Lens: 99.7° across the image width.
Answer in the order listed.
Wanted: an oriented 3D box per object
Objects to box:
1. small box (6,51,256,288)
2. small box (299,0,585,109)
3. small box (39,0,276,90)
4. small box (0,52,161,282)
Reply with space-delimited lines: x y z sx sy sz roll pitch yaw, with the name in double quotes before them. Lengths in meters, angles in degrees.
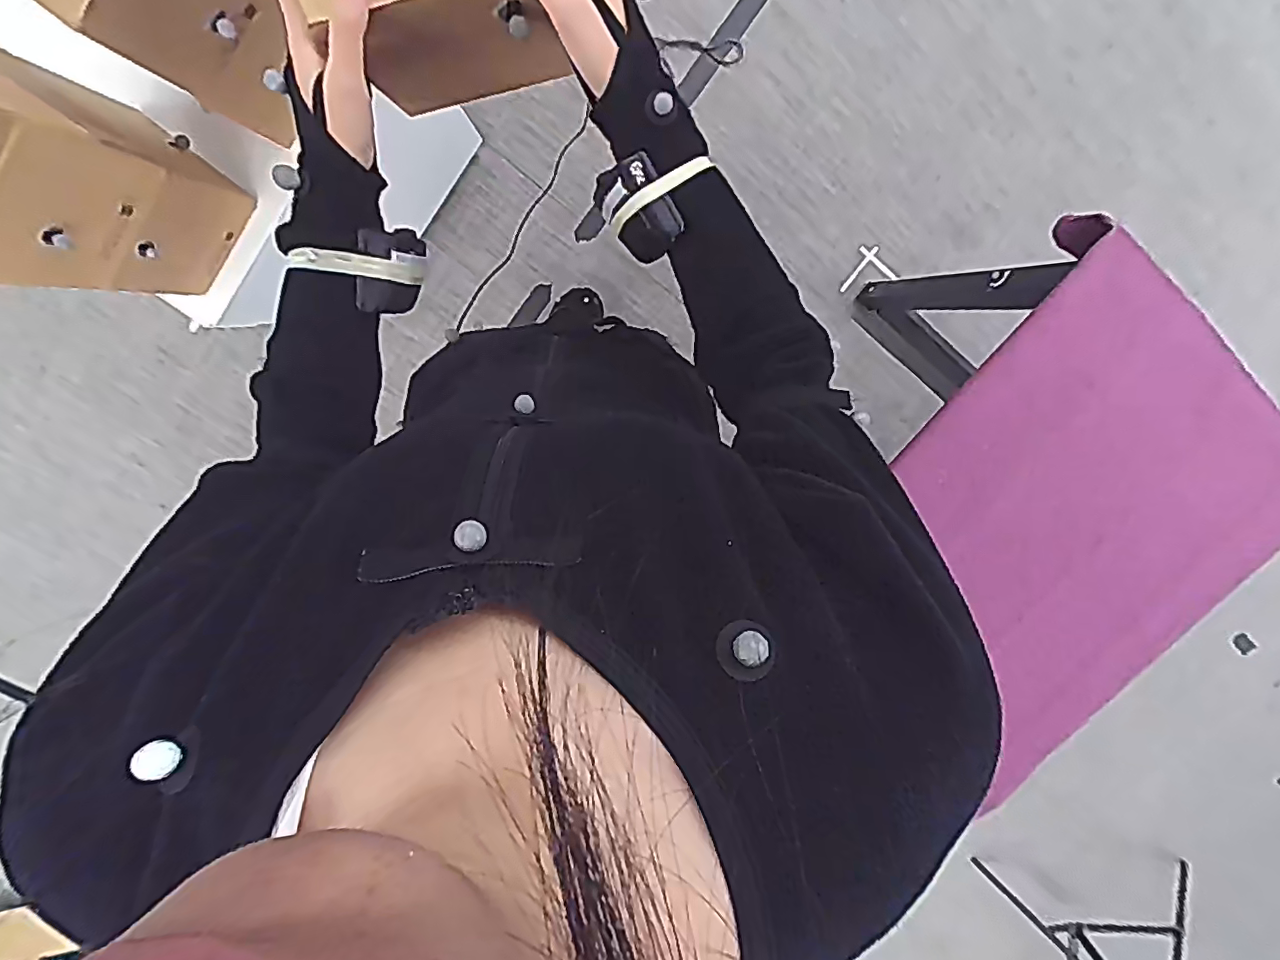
"small box" -0.637 -0.355 0.665 0.179 0.176 0.168 37 102 -13
"small box" -0.140 -0.399 0.383 0.179 0.176 0.168 -12 107 4
"small box" -0.463 -0.490 0.465 0.179 0.176 0.168 38 102 -15
"small box" -0.624 -0.307 0.511 0.179 0.176 0.168 36 101 -13
